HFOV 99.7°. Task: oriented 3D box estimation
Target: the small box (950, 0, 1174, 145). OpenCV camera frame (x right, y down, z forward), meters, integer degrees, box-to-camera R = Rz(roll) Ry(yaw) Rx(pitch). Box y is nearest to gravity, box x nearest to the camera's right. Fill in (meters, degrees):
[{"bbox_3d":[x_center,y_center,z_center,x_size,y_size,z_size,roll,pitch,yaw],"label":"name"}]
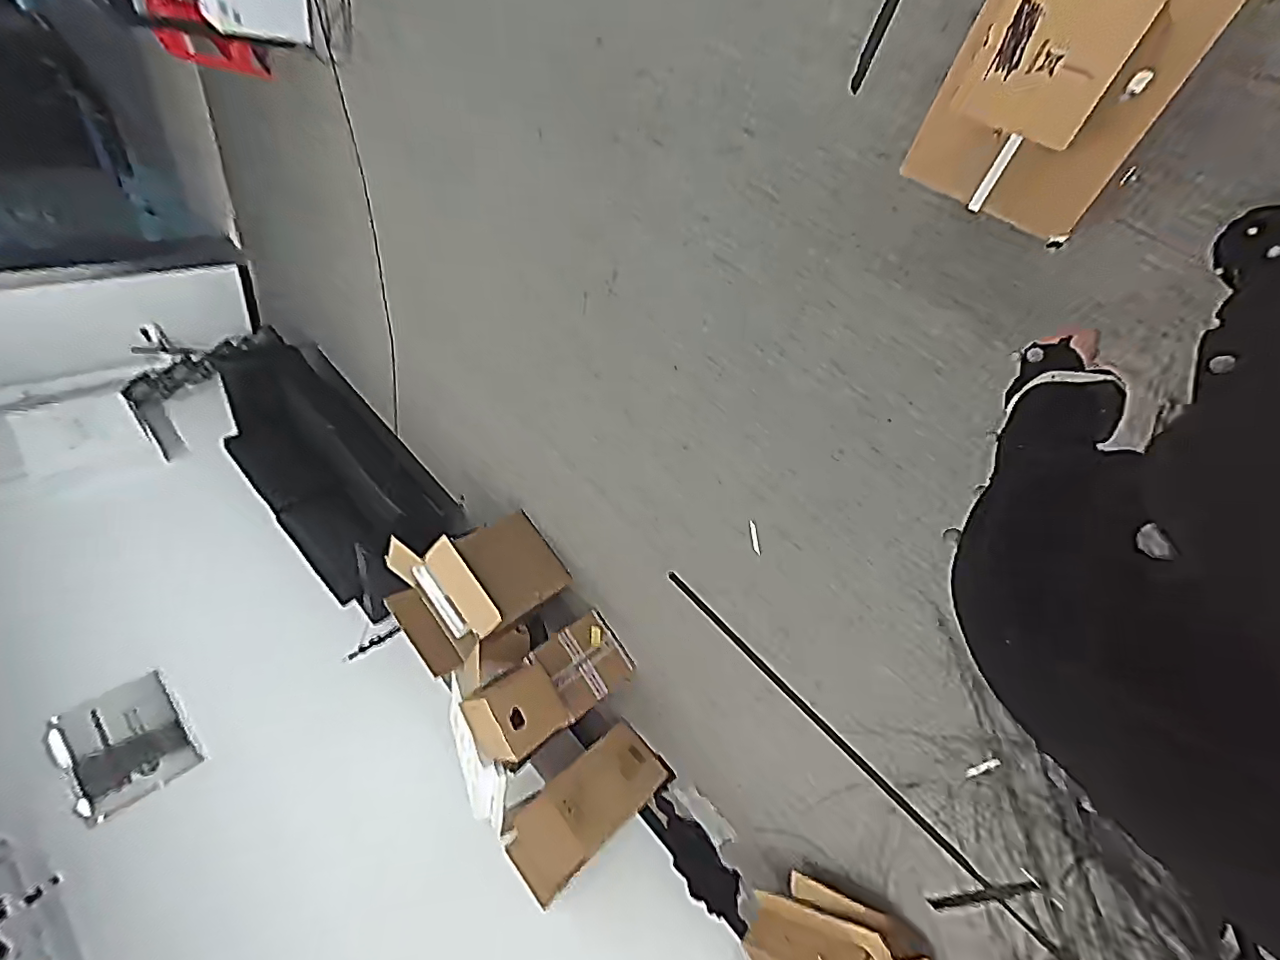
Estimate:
[{"bbox_3d":[0.585,-0.587,0.756,0.179,0.176,0.168,40,136,22],"label":"small box"}]
